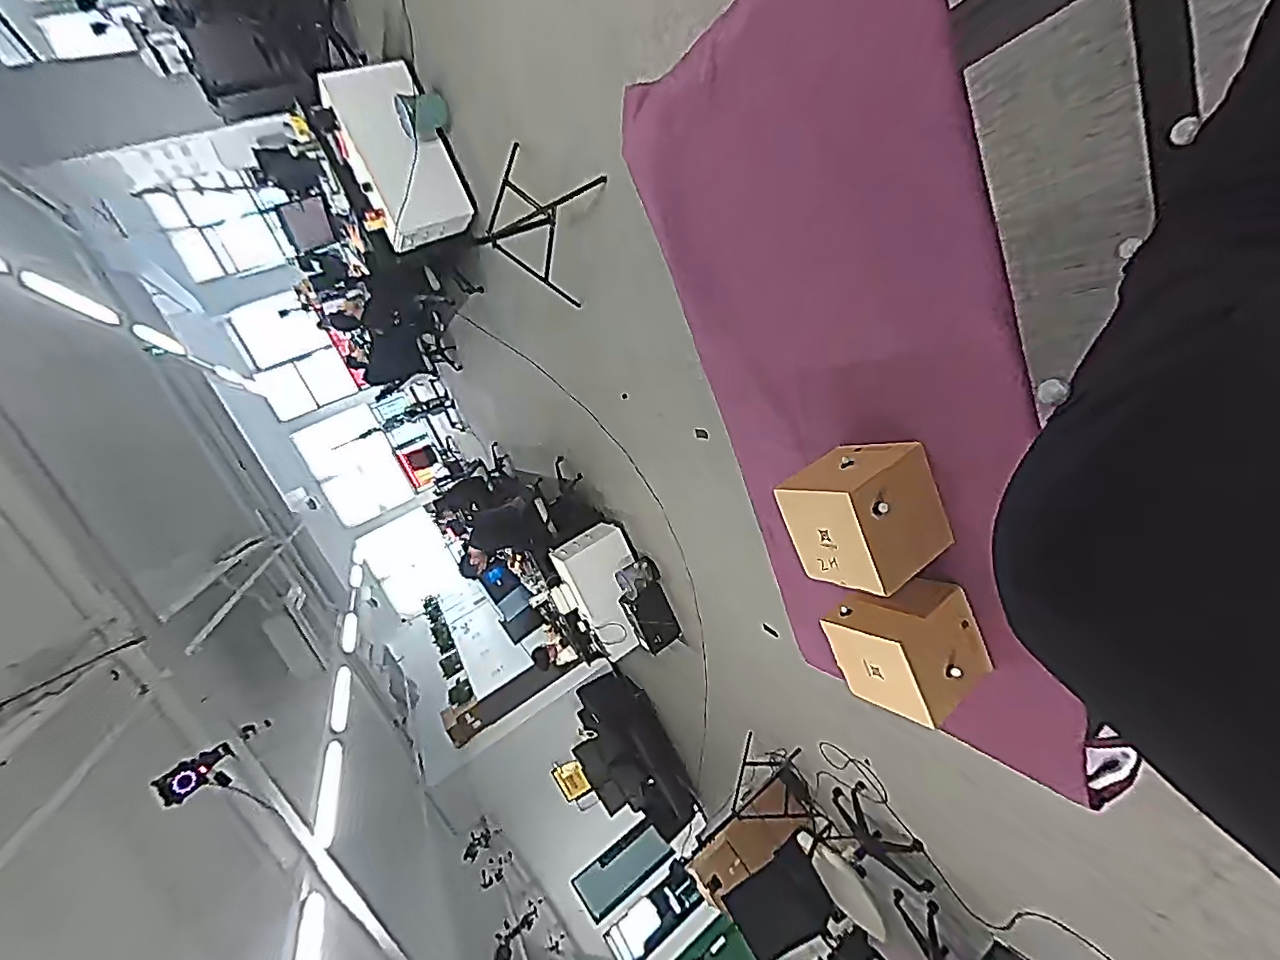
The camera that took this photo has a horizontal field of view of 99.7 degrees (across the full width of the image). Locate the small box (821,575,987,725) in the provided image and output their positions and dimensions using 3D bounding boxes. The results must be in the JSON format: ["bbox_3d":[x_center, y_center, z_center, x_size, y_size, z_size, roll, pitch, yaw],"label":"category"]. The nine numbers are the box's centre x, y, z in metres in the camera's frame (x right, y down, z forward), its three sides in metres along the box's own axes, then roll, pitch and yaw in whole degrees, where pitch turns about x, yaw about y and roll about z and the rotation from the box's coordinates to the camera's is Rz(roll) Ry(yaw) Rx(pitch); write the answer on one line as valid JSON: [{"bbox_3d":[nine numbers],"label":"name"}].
[{"bbox_3d":[0.457,0.275,0.929,0.168,0.176,0.179,64,159,-9],"label":"small box"}]

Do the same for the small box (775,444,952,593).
[{"bbox_3d":[0.355,0.049,0.863,0.179,0.176,0.168,66,159,-11],"label":"small box"}]
